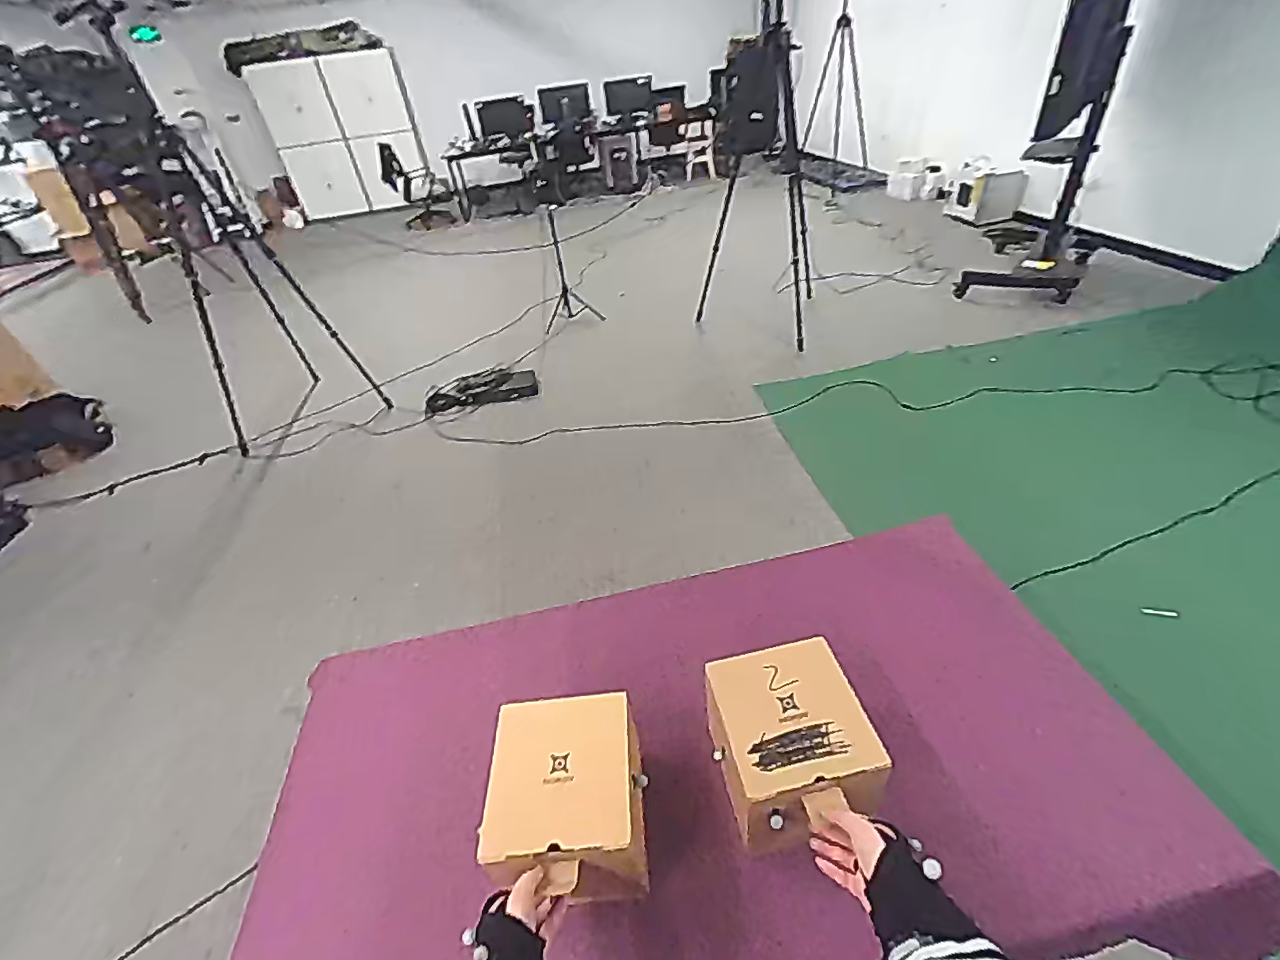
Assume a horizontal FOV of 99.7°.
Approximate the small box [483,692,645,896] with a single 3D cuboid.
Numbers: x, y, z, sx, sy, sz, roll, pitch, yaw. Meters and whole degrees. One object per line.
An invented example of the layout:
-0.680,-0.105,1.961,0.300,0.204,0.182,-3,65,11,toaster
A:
-0.085,0.402,0.696,0.168,0.176,0.179,-7,40,2,small box
